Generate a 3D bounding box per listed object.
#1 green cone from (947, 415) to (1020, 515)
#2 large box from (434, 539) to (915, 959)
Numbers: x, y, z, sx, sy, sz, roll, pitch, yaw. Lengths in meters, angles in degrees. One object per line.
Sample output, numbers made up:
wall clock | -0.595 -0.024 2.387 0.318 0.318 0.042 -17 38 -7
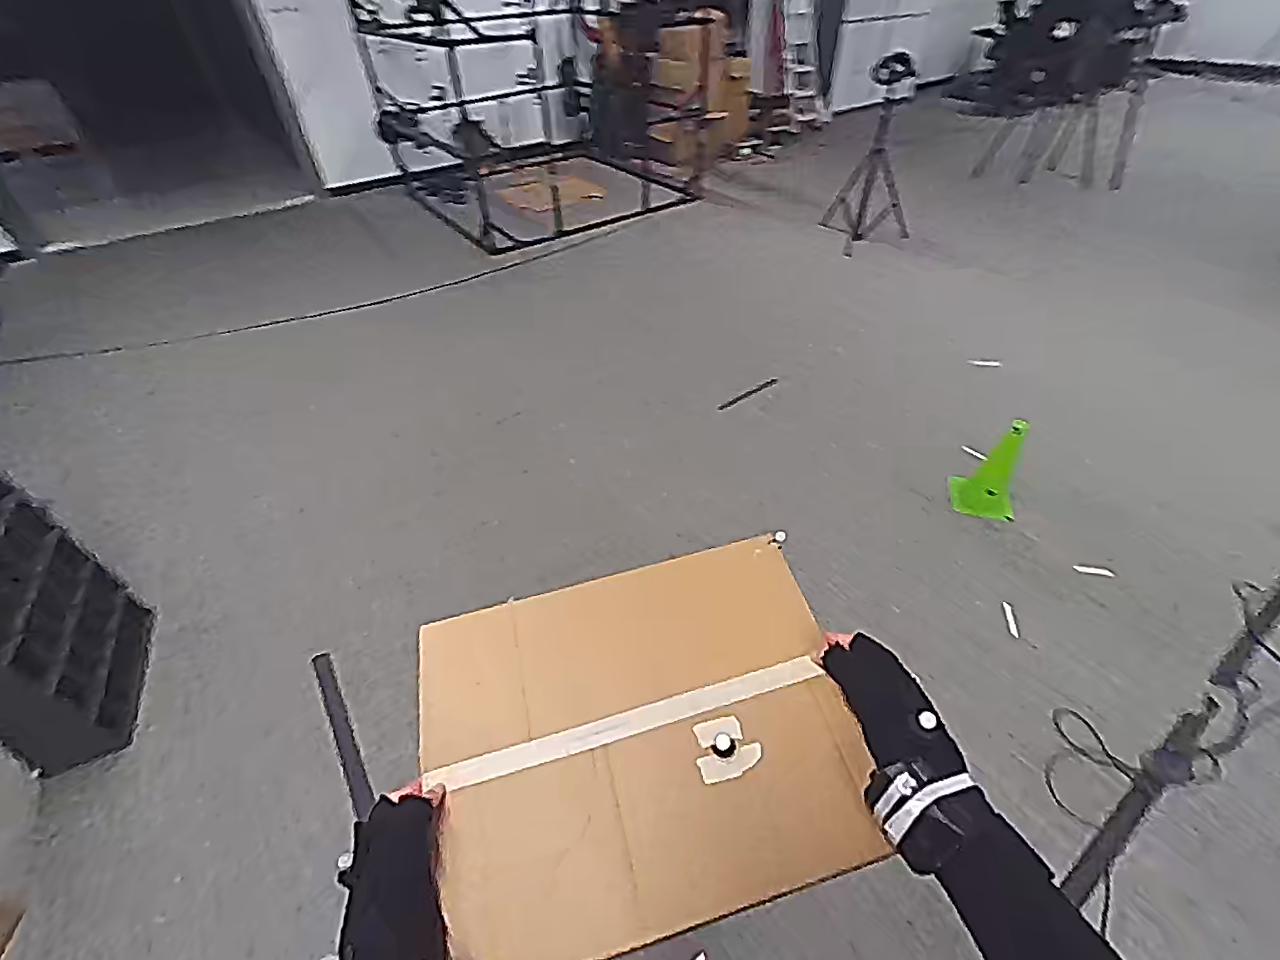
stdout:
green cone | 1.270 -0.075 1.931 0.202 0.368 0.200 9 44 15
large box | 0.011 0.321 0.635 0.408 0.320 0.320 -13 52 -7
